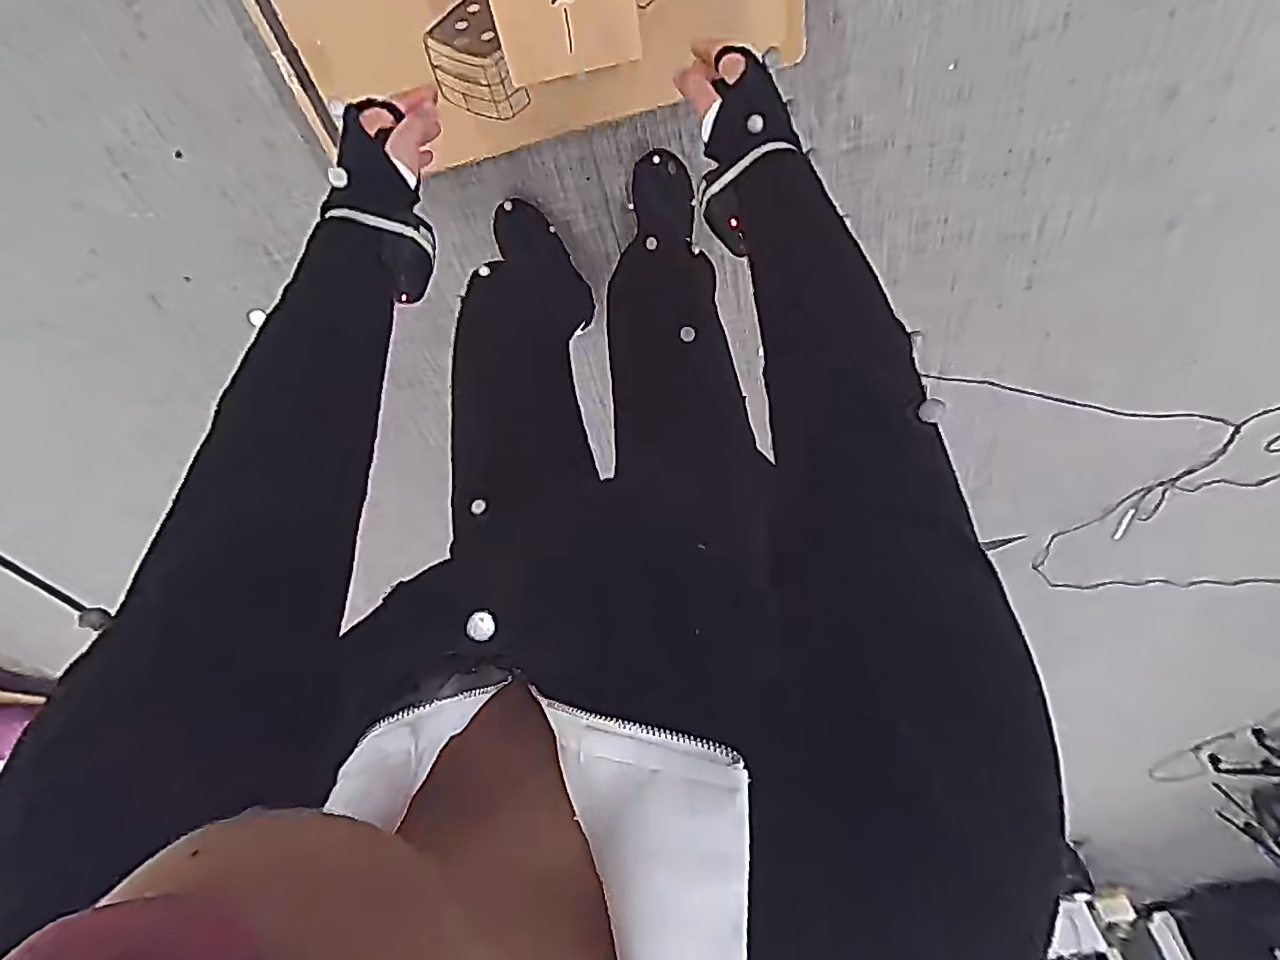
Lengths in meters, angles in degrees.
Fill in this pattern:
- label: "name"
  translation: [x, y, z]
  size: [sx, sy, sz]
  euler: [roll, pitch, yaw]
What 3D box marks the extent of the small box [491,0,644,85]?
- label: "small box"
  translation: [-0.092, -0.611, 0.657]
  size: [0.168, 0.176, 0.179]
  euler: [-8, 133, 6]
